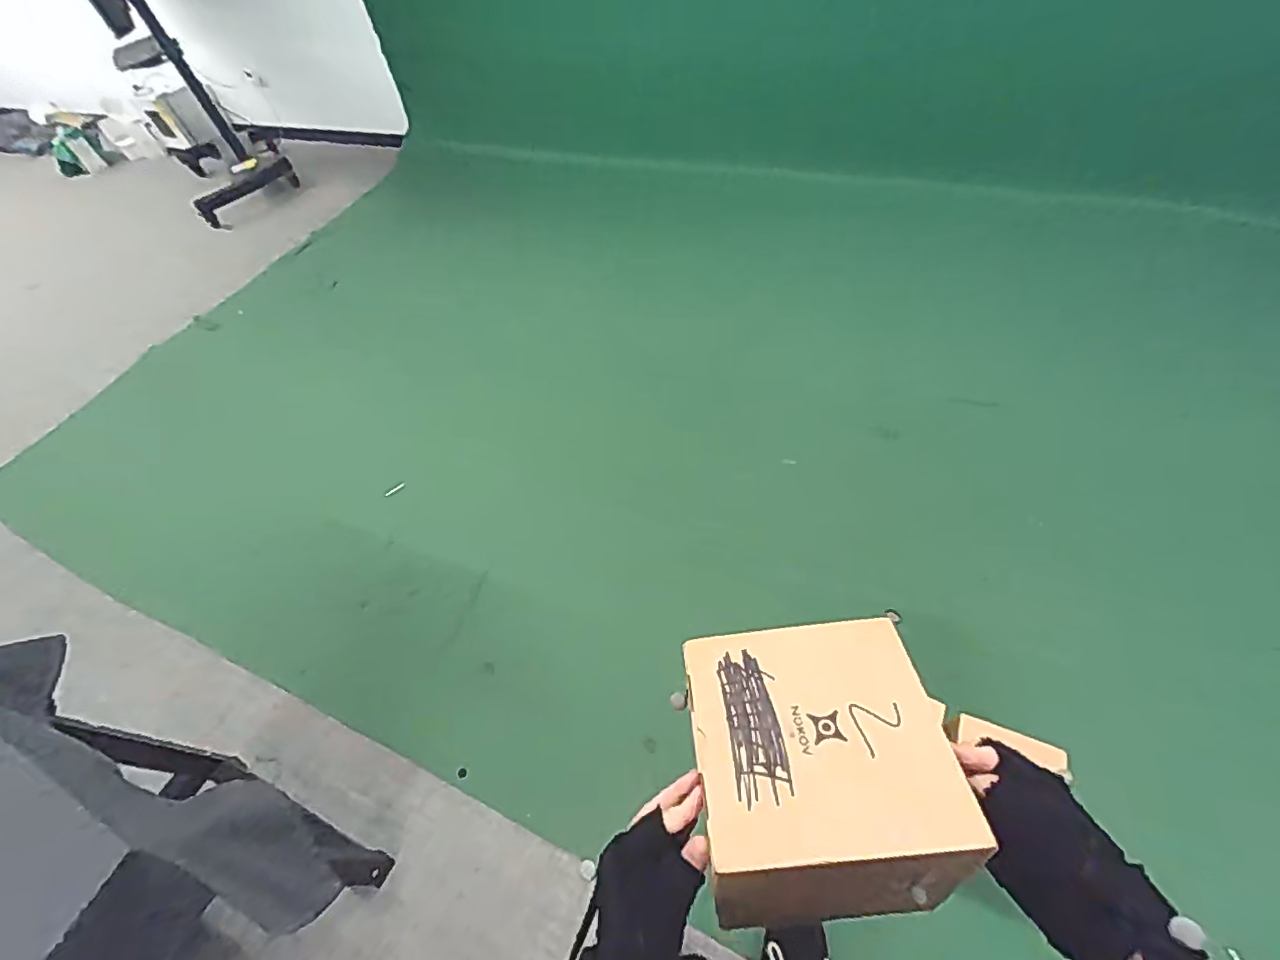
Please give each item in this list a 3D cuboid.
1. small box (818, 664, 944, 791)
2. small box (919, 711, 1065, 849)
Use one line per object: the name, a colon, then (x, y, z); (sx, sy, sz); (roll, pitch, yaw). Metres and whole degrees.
small box: (0.480, 0.505, 1.094); (0.179, 0.176, 0.168); (21, 61, 23)
small box: (0.657, 0.566, 1.021); (0.179, 0.176, 0.168); (17, 59, 18)
